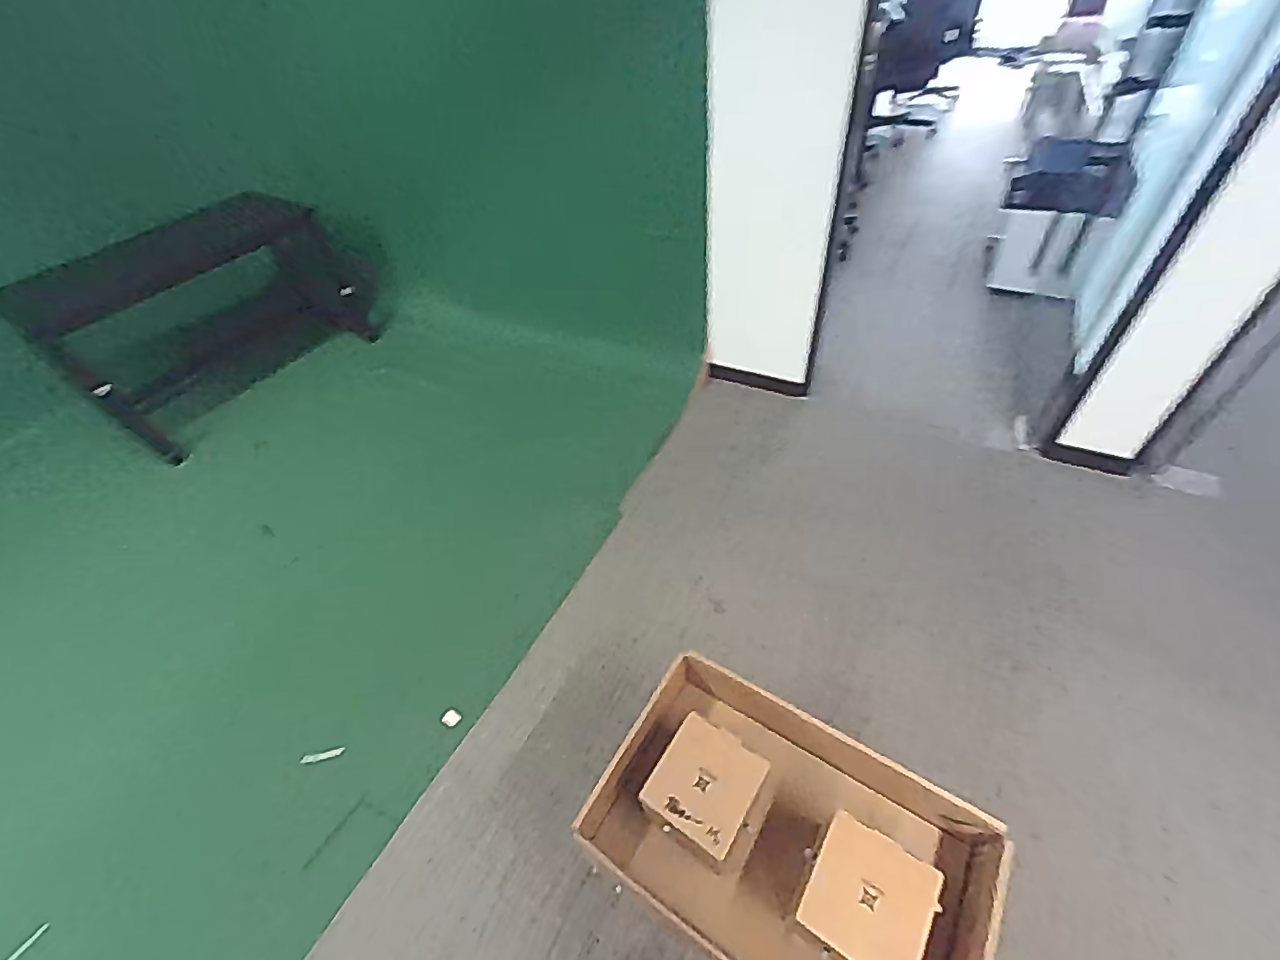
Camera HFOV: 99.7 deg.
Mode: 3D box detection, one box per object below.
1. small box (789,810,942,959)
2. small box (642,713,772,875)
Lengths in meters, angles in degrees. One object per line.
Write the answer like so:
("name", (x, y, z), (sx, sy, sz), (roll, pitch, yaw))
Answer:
("small box", (0.349, 0.677, 0.862), (0.168, 0.176, 0.179), (24, 54, 26))
("small box", (0.121, 0.572, 0.985), (0.168, 0.176, 0.179), (25, 54, 28))
